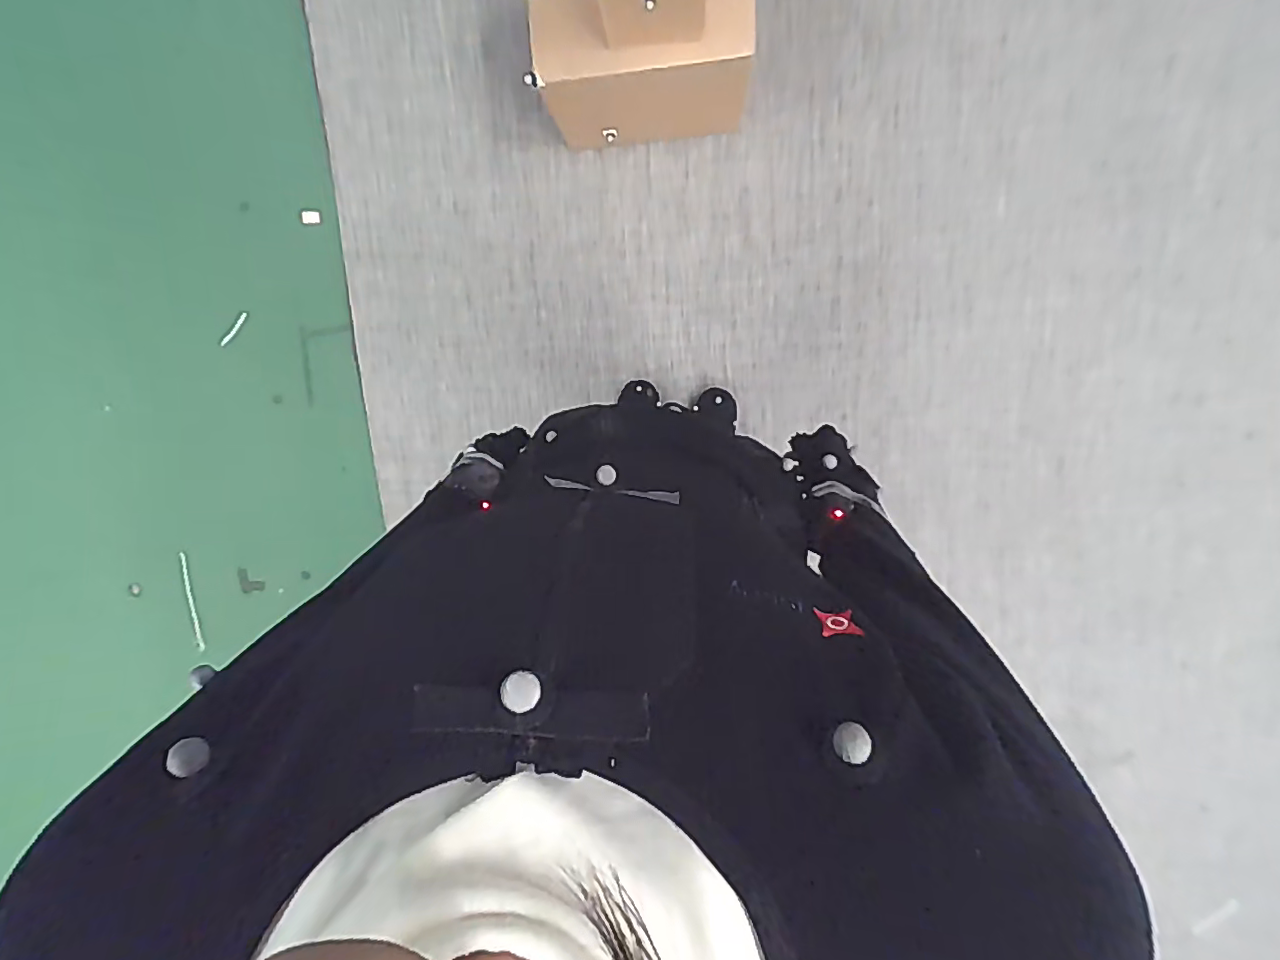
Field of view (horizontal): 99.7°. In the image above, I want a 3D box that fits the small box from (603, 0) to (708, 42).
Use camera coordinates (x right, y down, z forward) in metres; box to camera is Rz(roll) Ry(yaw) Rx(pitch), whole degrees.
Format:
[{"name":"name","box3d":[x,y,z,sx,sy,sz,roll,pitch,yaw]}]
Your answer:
[{"name":"small box","box3d":[0.020,-0.848,0.870,0.179,0.176,0.168,-3,103,6]}]
